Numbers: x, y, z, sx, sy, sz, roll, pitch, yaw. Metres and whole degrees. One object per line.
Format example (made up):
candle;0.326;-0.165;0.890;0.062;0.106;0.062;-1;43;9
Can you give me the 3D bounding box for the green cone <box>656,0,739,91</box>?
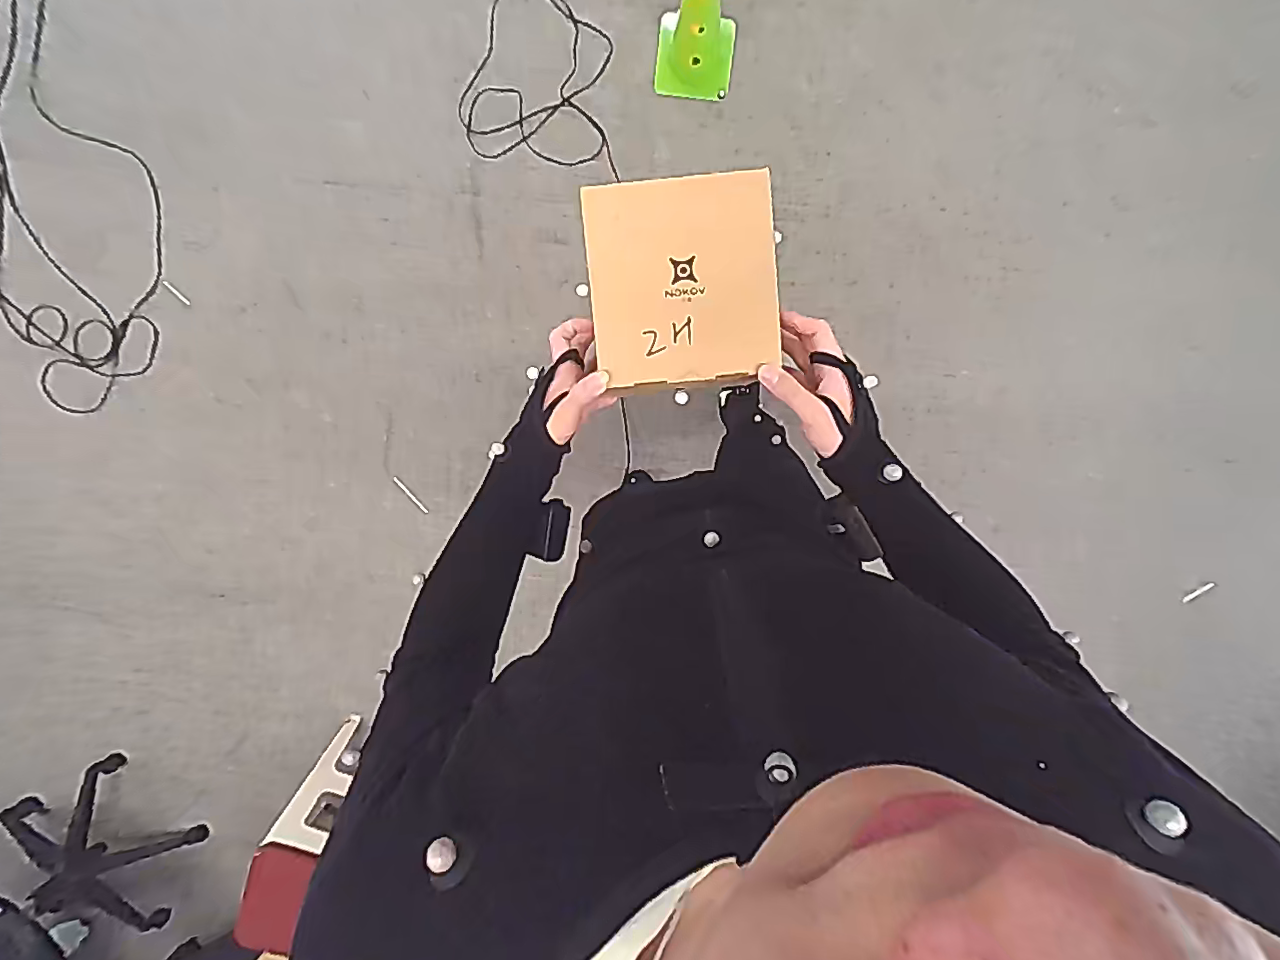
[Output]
green cone;0.142;-1.107;1.240;0.202;0.368;0.200;6;98;2
